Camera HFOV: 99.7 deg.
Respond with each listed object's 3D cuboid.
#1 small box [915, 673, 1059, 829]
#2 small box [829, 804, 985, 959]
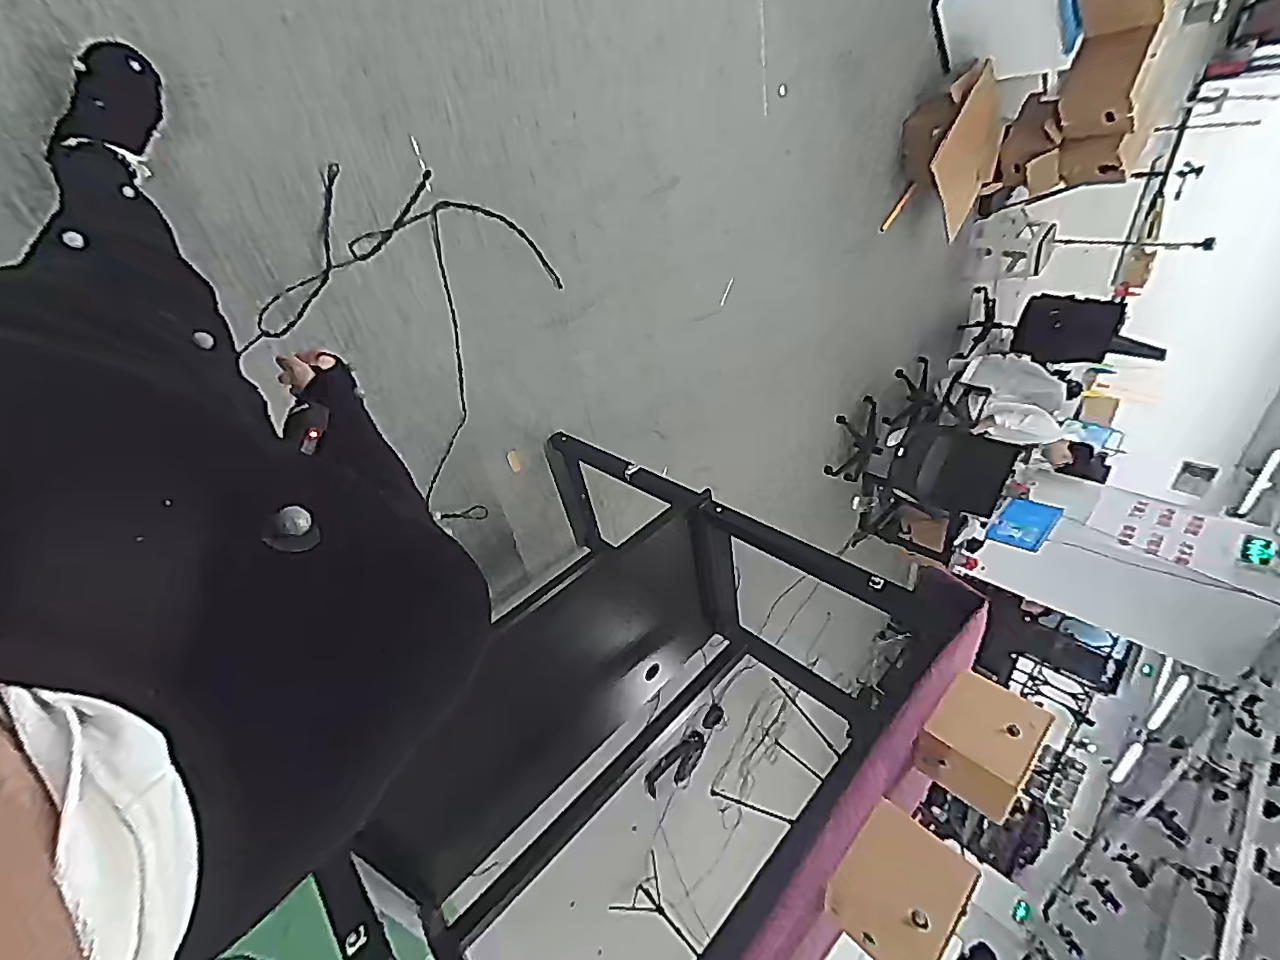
[{"bbox_3d":[0.663,0.514,1.046,0.179,0.176,0.168,-37,132,-27],"label":"small box"},{"bbox_3d":[0.430,0.690,0.890,0.179,0.176,0.168,-35,132,-30],"label":"small box"}]
